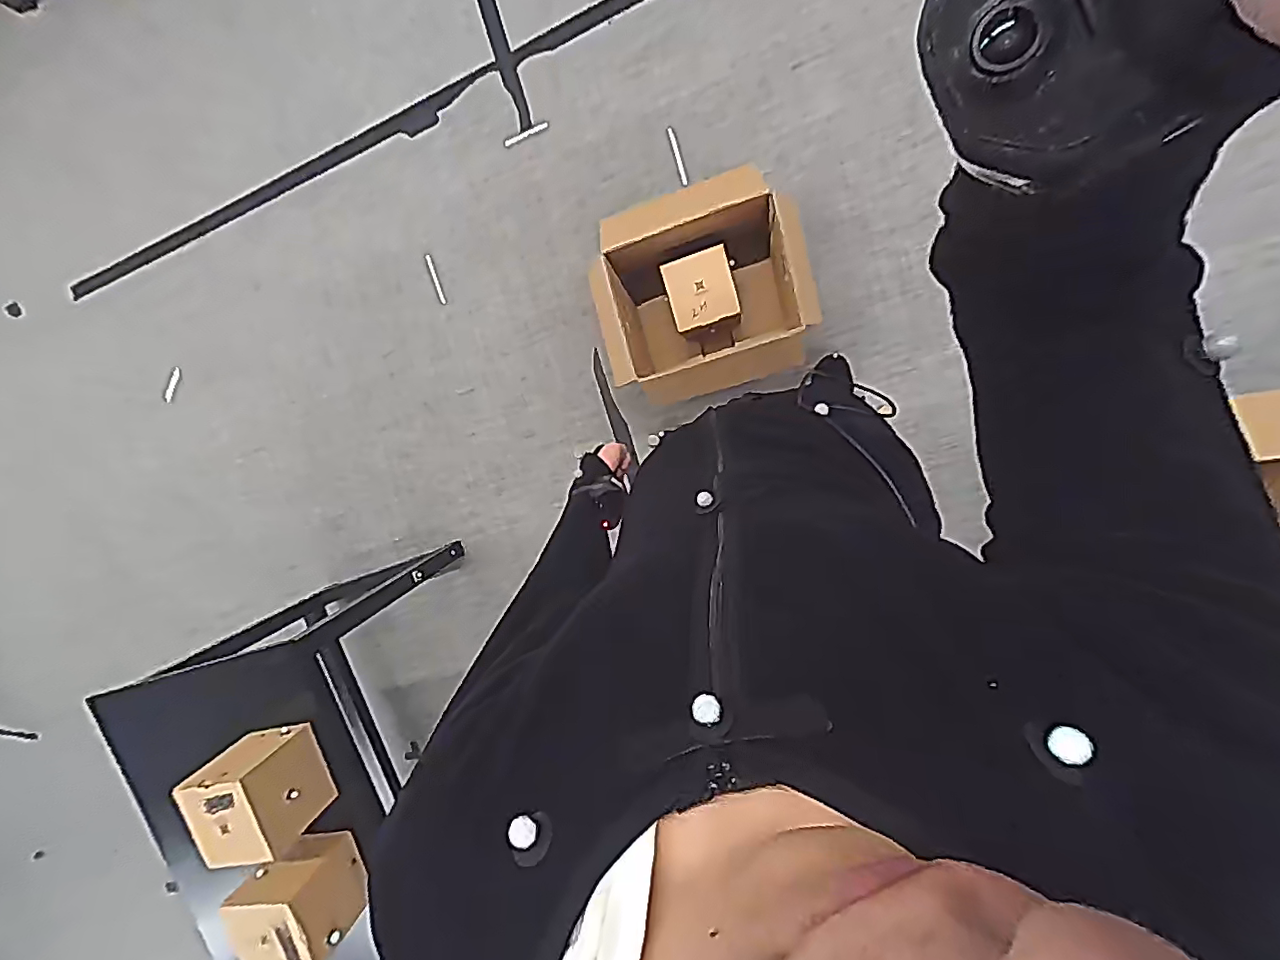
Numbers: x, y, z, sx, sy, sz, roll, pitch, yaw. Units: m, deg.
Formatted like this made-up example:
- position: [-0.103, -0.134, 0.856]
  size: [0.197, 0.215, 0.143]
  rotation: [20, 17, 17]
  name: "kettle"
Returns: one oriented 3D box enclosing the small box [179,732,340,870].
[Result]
- position: [-0.749, 0.630, 1.083]
  size: [0.168, 0.176, 0.179]
  rotation: [-15, 99, 14]
  name: "small box"
